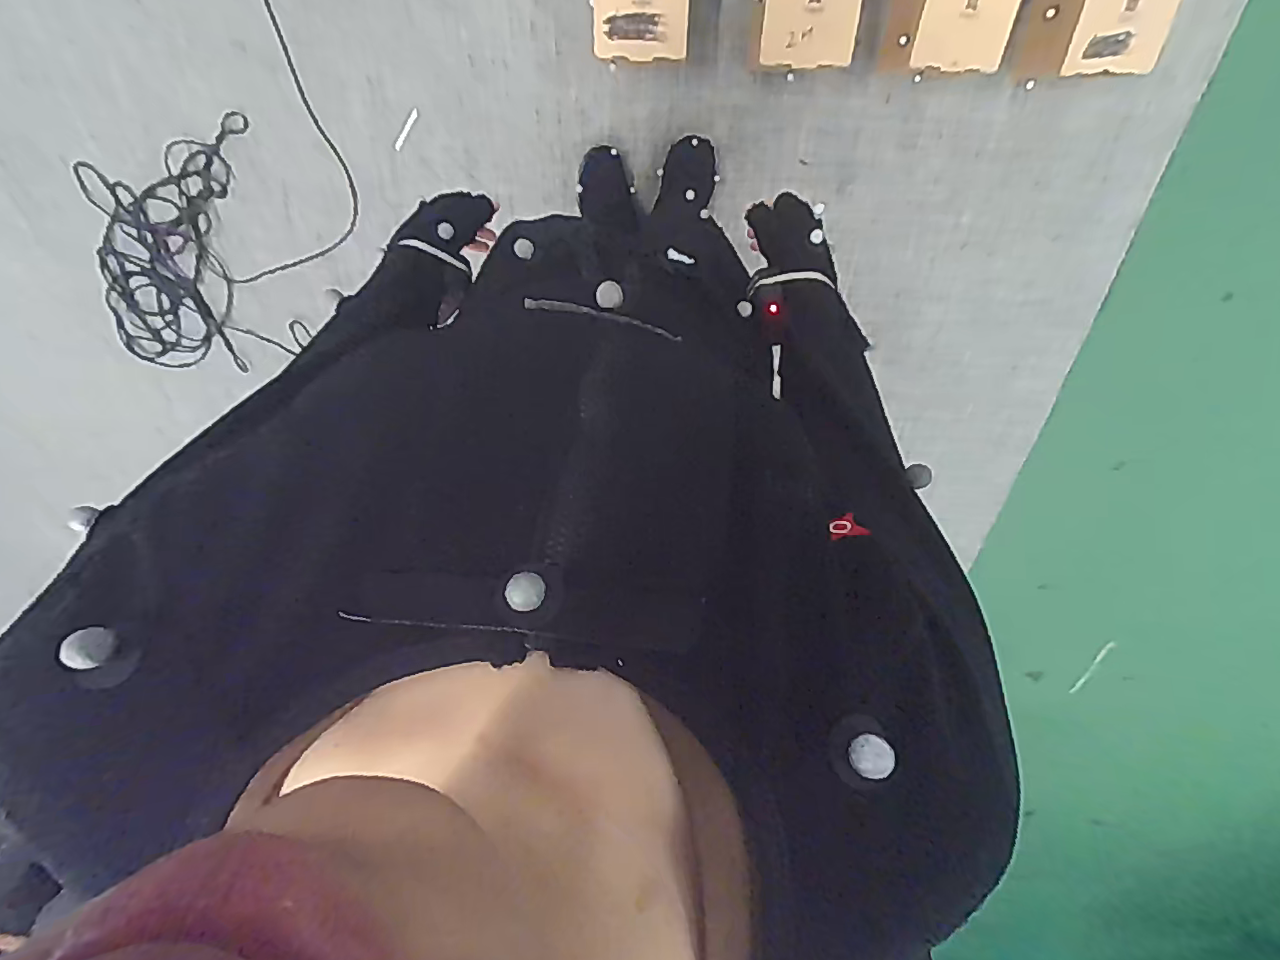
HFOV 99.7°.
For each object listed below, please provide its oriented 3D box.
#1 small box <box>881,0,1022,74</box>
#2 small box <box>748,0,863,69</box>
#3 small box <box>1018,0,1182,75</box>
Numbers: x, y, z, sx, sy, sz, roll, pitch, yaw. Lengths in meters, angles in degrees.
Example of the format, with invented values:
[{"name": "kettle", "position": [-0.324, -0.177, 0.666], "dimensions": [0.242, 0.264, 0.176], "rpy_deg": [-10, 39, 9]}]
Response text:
[{"name": "small box", "position": [0.565, -0.856, 0.980], "dimensions": [0.168, 0.176, 0.179], "rpy_deg": [2, 124, -1]}, {"name": "small box", "position": [0.296, -0.861, 0.975], "dimensions": [0.168, 0.176, 0.179], "rpy_deg": [2, 124, 1]}, {"name": "small box", "position": [0.833, -0.849, 0.981], "dimensions": [0.168, 0.176, 0.179], "rpy_deg": [0, 124, 0]}]
